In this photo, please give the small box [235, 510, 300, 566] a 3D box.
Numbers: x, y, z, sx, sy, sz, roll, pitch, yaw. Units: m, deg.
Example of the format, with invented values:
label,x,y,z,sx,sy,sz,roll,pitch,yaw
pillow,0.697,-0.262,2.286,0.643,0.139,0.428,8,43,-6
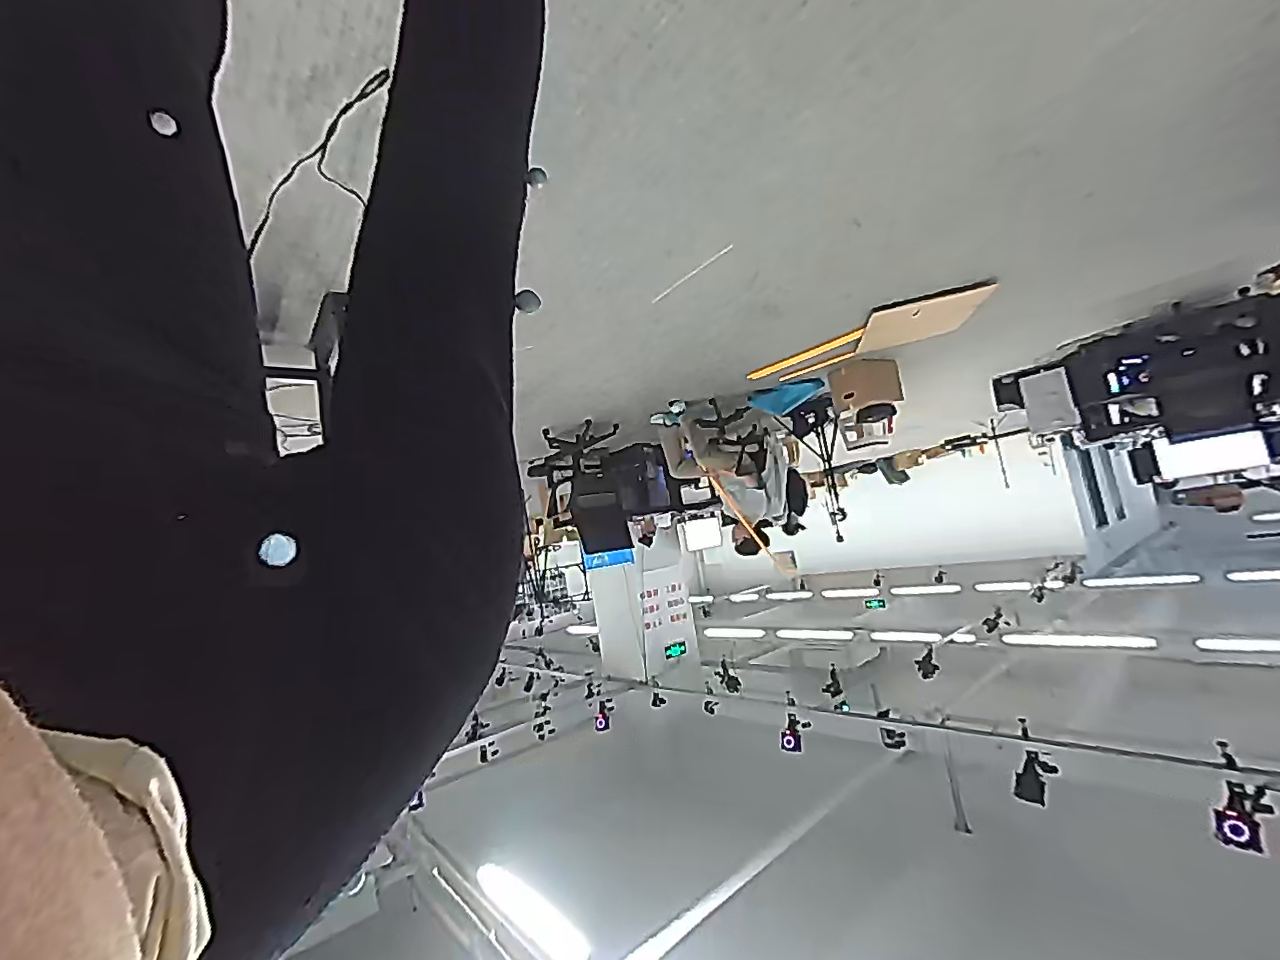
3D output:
label,x,y,z,sx,sy,sz,roll,pitch,yaw
small box,-1.236,0.194,1.793,0.168,0.176,0.179,-5,171,-35
